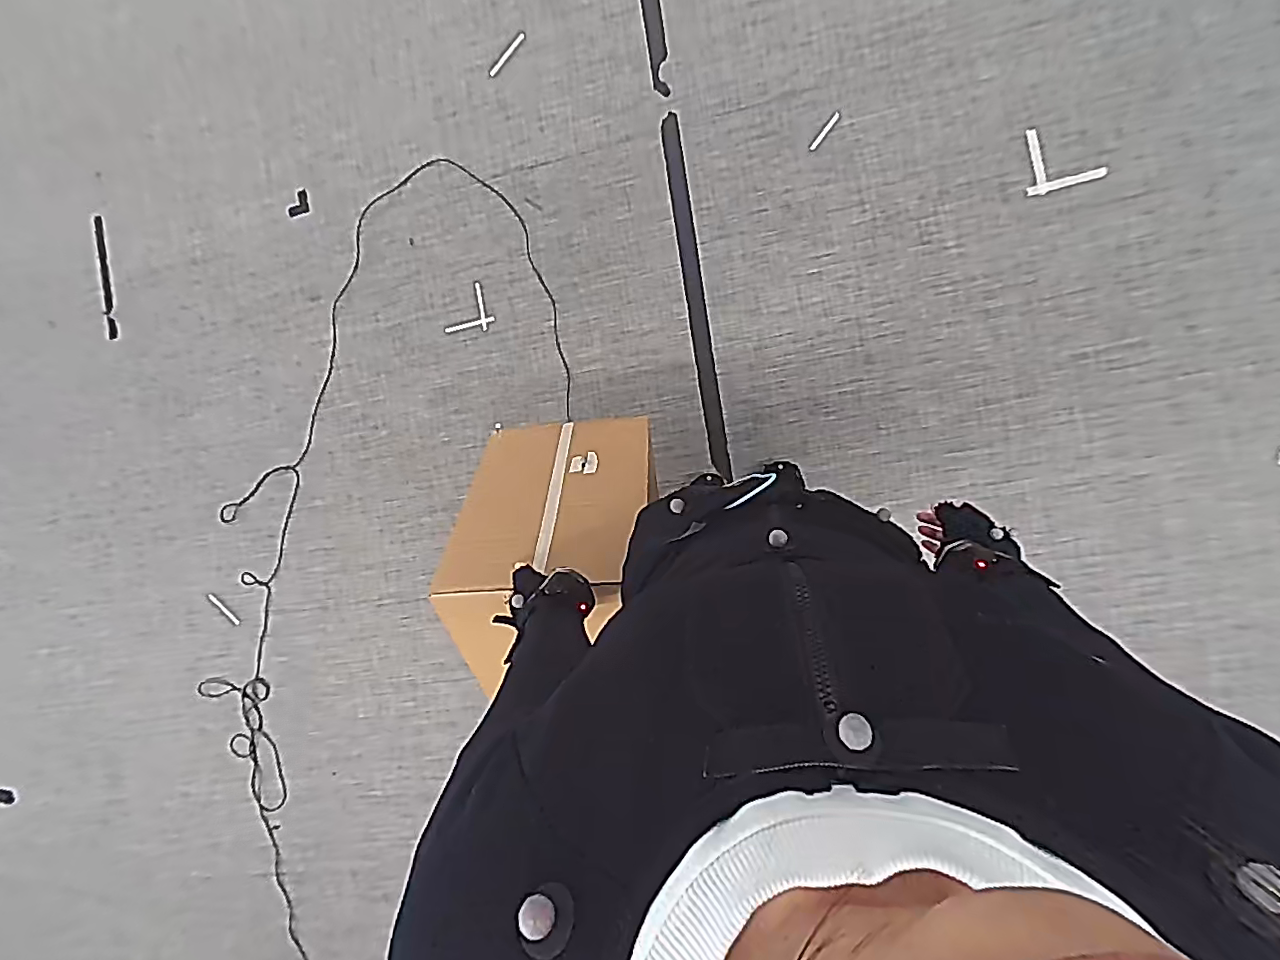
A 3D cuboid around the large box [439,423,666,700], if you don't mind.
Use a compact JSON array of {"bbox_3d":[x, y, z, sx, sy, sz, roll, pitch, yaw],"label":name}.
[{"bbox_3d":[-0.122,0.141,1.005,0.320,0.408,0.320,-3,129,4],"label":"large box"}]
